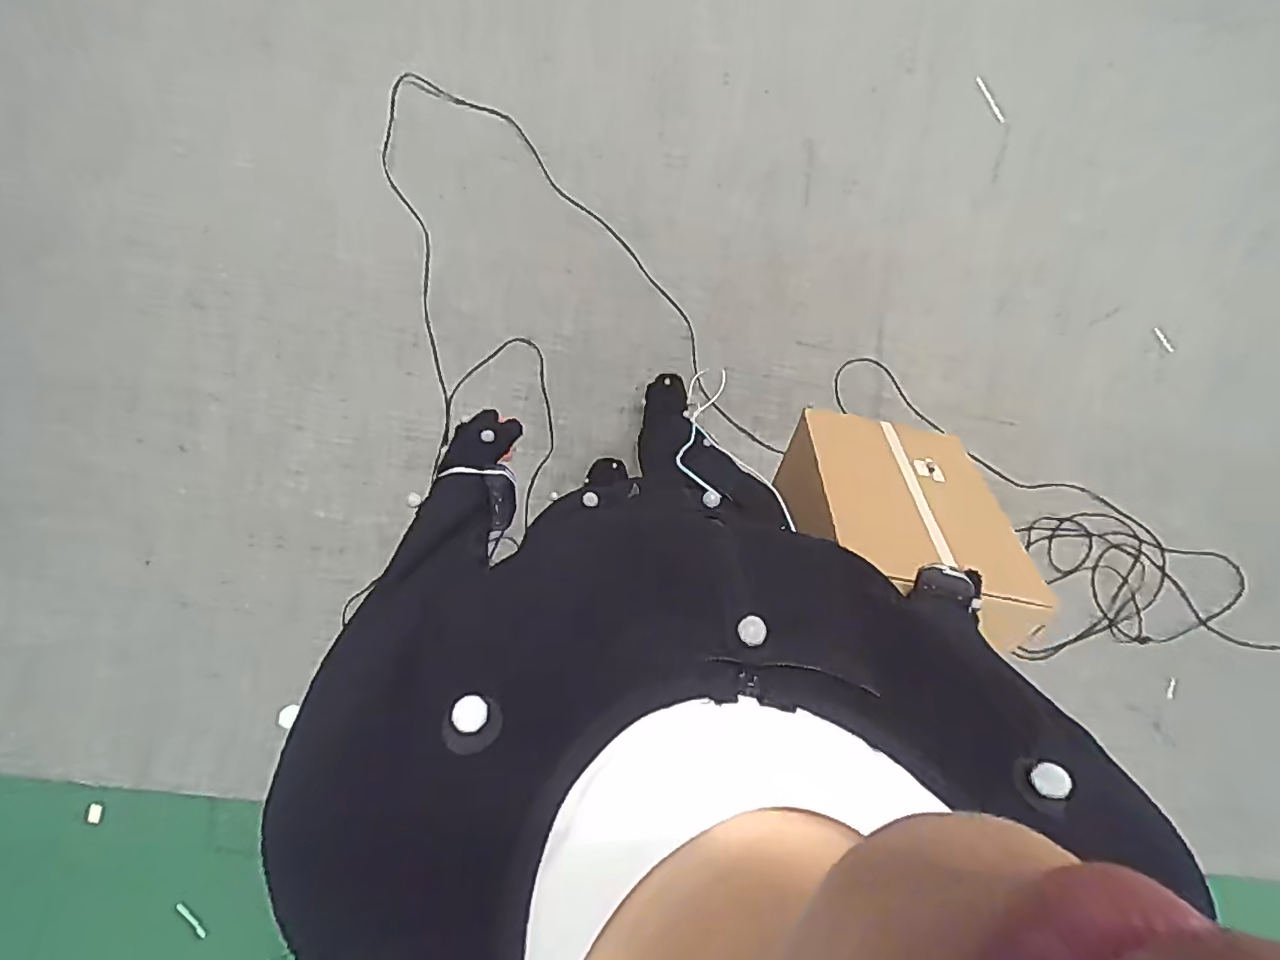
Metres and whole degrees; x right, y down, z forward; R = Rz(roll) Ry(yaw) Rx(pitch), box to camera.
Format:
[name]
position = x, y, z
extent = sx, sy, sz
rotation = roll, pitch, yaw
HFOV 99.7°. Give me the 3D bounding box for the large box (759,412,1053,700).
[large box]
position = 0.426, 0.133, 0.998
extent = 0.320, 0.408, 0.320
rotation = 11, 131, -3
